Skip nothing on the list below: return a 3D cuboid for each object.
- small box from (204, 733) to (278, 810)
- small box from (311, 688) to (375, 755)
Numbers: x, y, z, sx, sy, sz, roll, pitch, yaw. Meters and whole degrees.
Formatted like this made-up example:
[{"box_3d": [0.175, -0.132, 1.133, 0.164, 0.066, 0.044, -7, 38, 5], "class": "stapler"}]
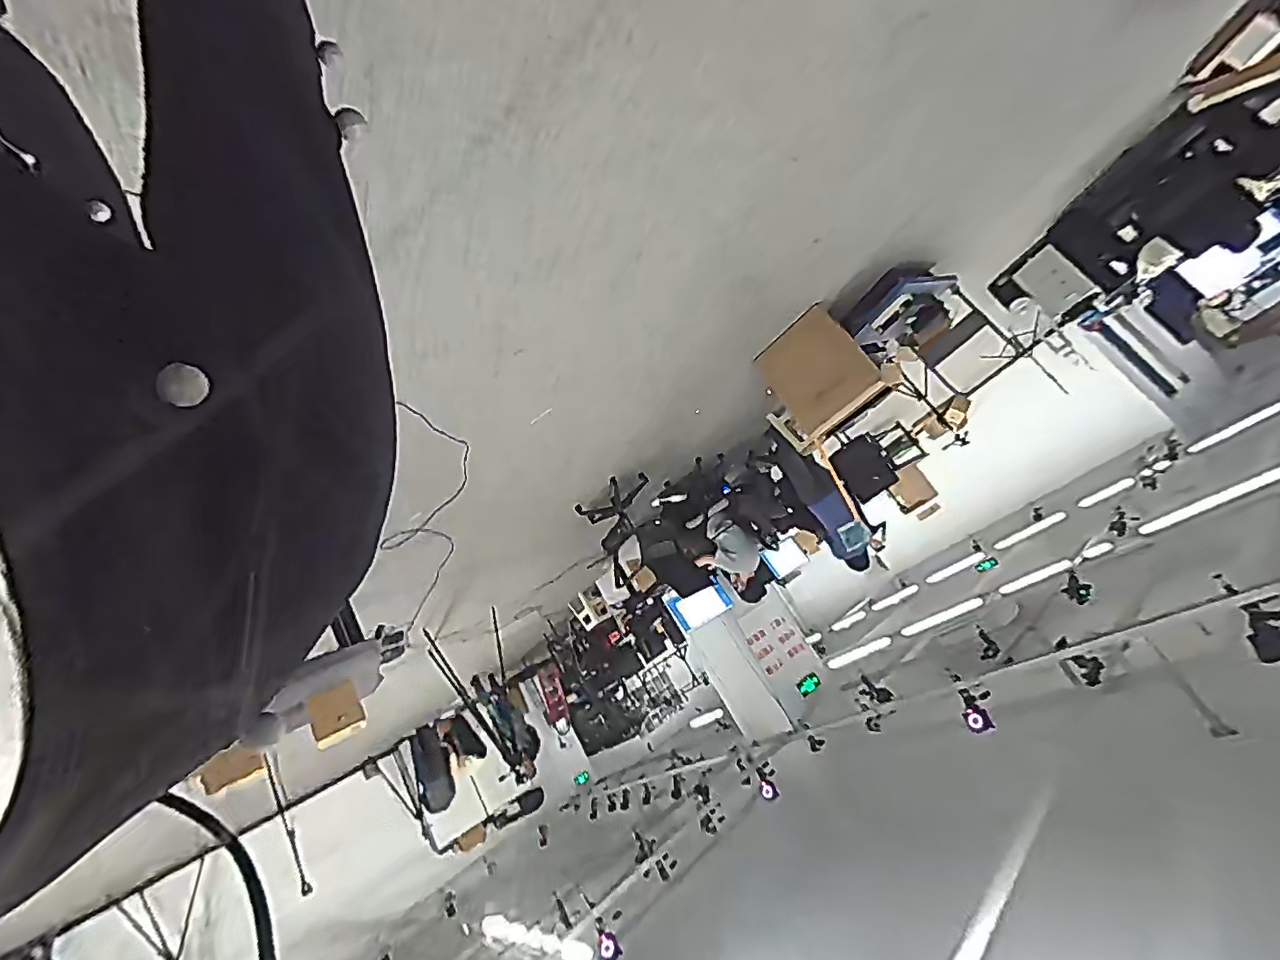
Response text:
[{"box_3d": [-1.403, 1.021, 1.902, 0.168, 0.176, 0.179, -20, 157, -37], "class": "small box"}, {"box_3d": [-1.154, 0.936, 2.105, 0.179, 0.176, 0.168, -20, 157, -34], "class": "small box"}]
